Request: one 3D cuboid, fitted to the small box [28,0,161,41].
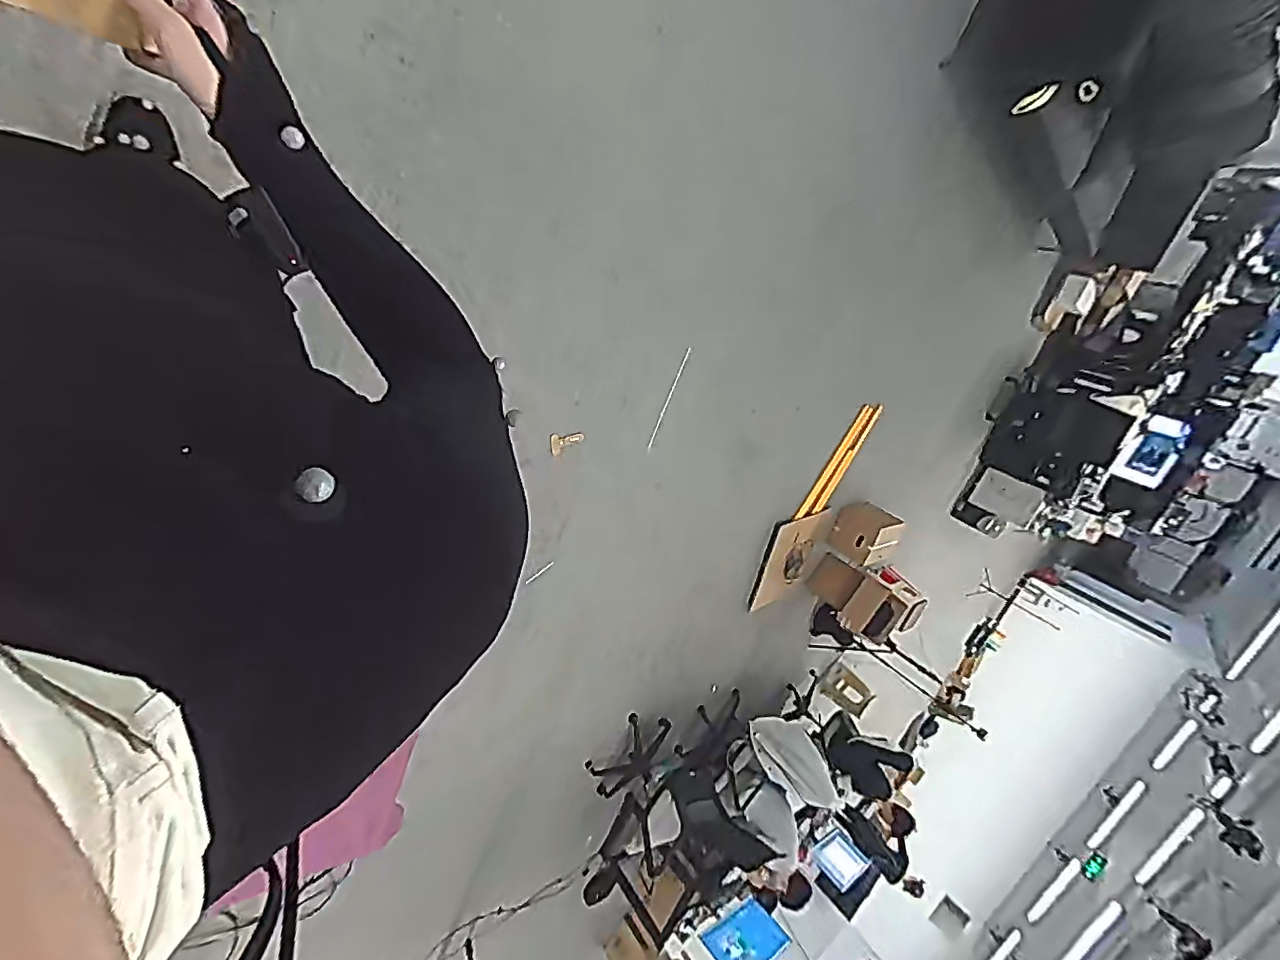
[{"bbox_3d":[-0.463,-0.460,0.391,0.168,0.176,0.179,0,123,-39],"label":"small box"}]
